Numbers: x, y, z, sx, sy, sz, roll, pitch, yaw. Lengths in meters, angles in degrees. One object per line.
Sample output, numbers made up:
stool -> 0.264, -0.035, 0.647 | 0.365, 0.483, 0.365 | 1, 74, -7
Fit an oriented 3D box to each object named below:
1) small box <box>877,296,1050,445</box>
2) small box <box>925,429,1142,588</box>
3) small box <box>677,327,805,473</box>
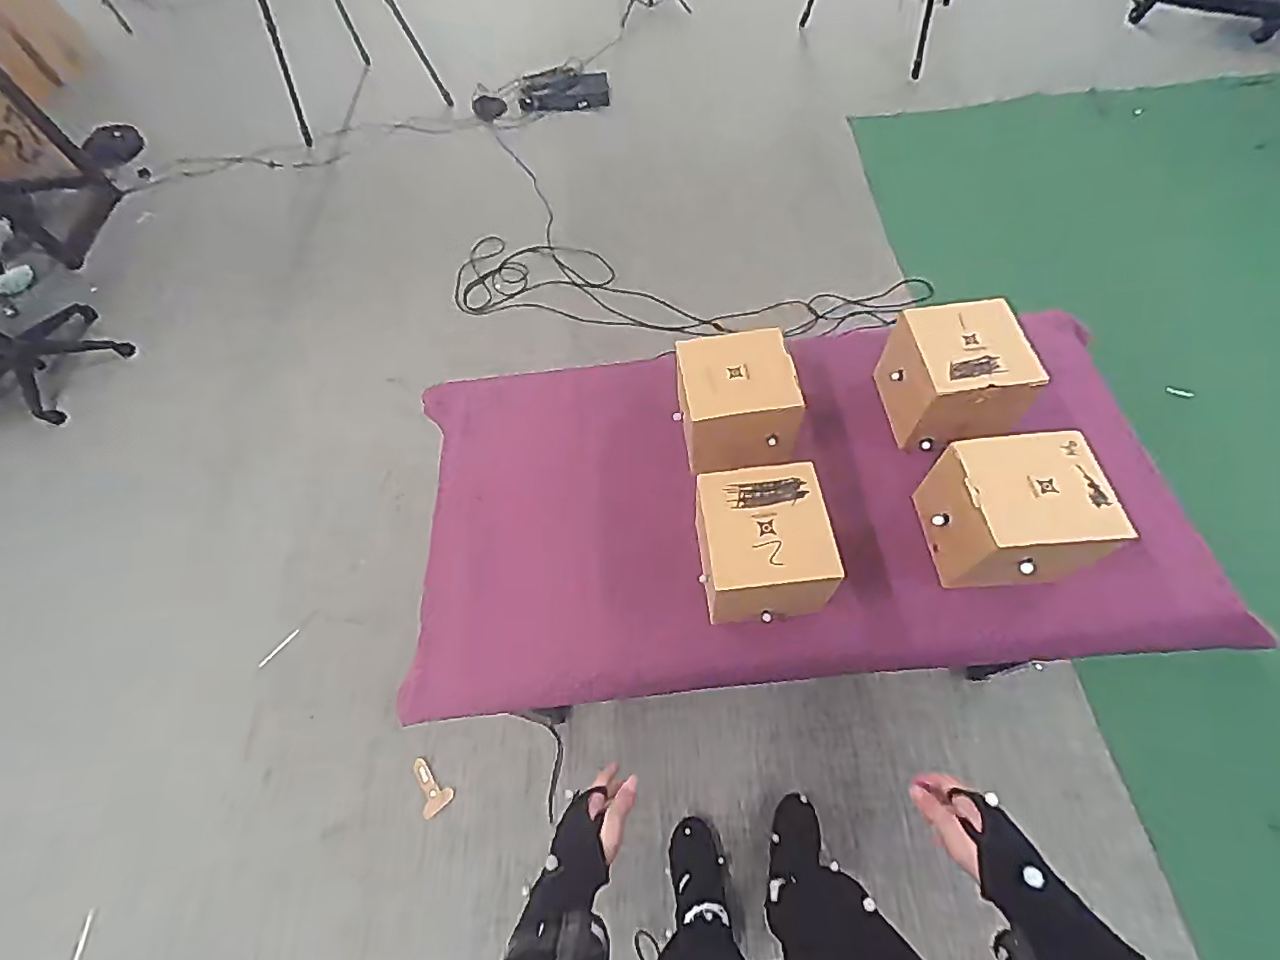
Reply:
small box -> 0.516, -0.170, 0.892 | 0.168, 0.176, 0.179 | -6, 60, 3
small box -> 0.530, 0.048, 0.769 | 0.179, 0.176, 0.168 | -5, 60, 4
small box -> 0.160, -0.129, 0.910 | 0.179, 0.176, 0.168 | -8, 60, 3
